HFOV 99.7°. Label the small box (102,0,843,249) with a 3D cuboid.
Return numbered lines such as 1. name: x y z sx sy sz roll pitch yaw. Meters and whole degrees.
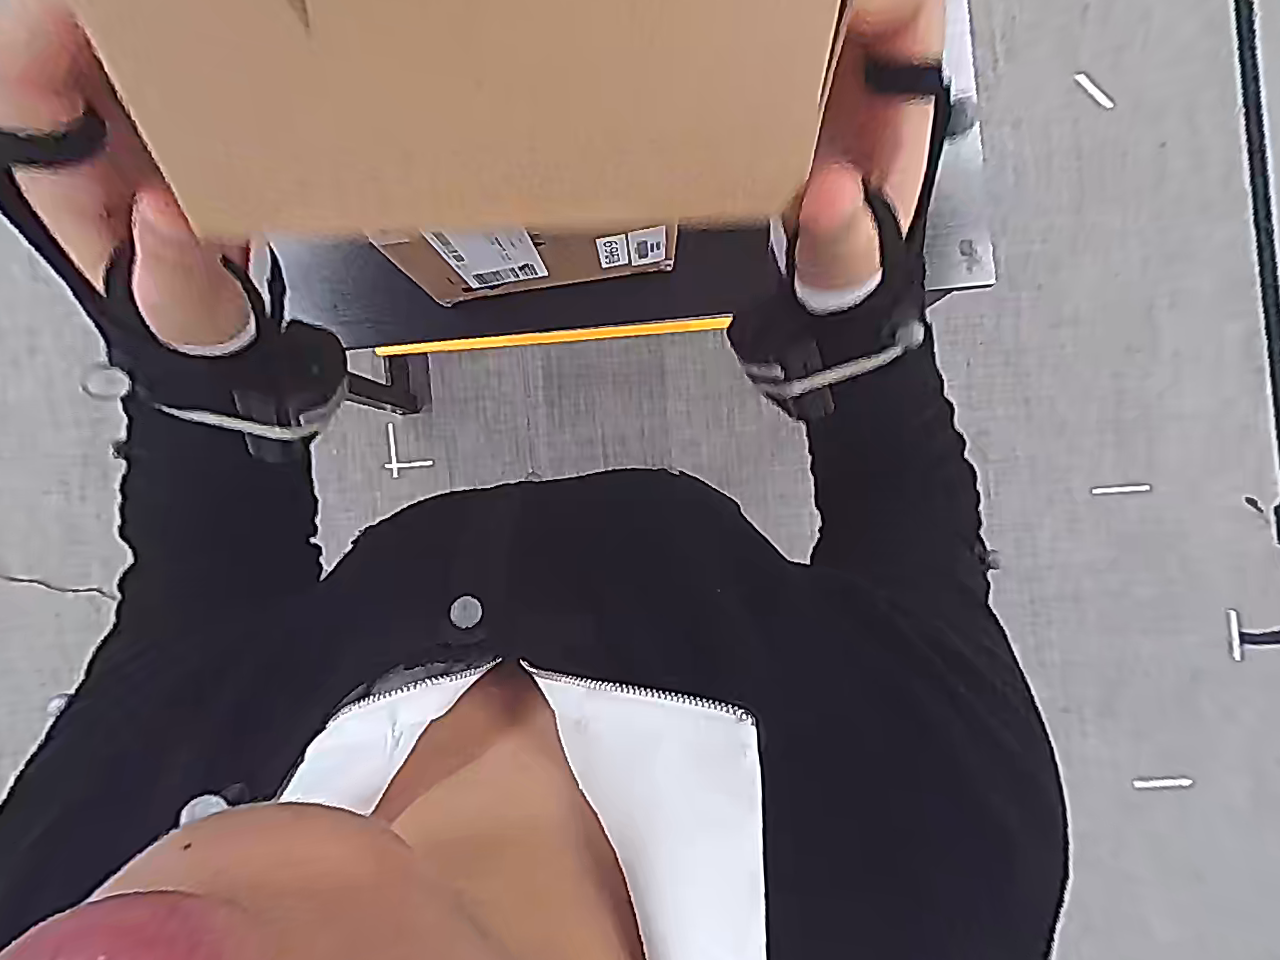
1. small box: -0.045 -0.189 0.165 0.179 0.168 0.176 -5 46 -6
